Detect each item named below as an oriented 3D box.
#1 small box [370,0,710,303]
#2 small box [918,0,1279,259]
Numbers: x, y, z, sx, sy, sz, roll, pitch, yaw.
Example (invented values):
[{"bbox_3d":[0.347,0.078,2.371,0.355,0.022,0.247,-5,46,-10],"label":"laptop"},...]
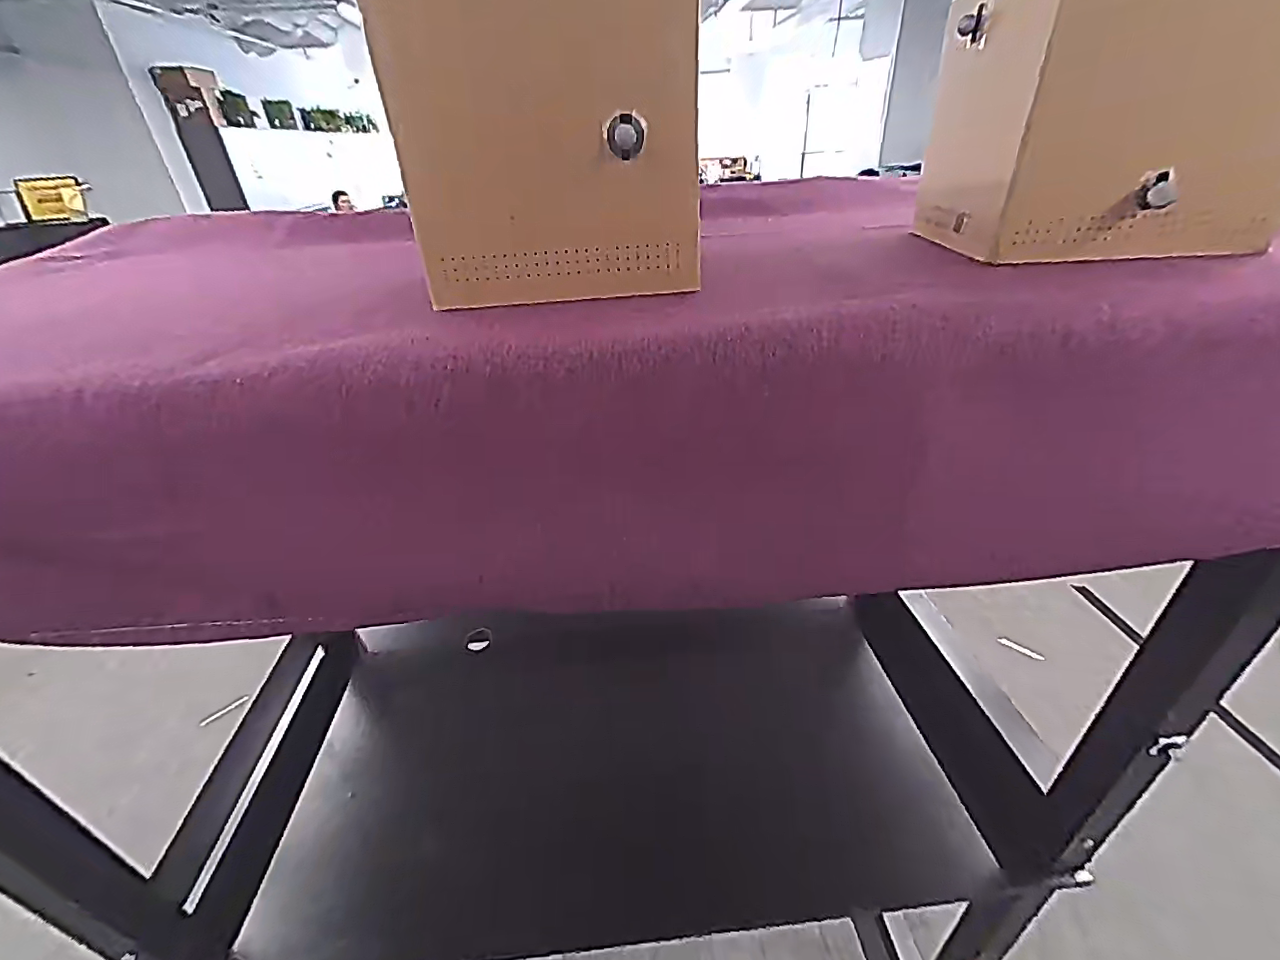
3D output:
[{"bbox_3d":[-0.052,-0.230,0.376,0.179,0.176,0.168,-5,31,-2],"label":"small box"},{"bbox_3d":[0.330,-0.262,0.385,0.179,0.176,0.168,0,31,6],"label":"small box"}]
